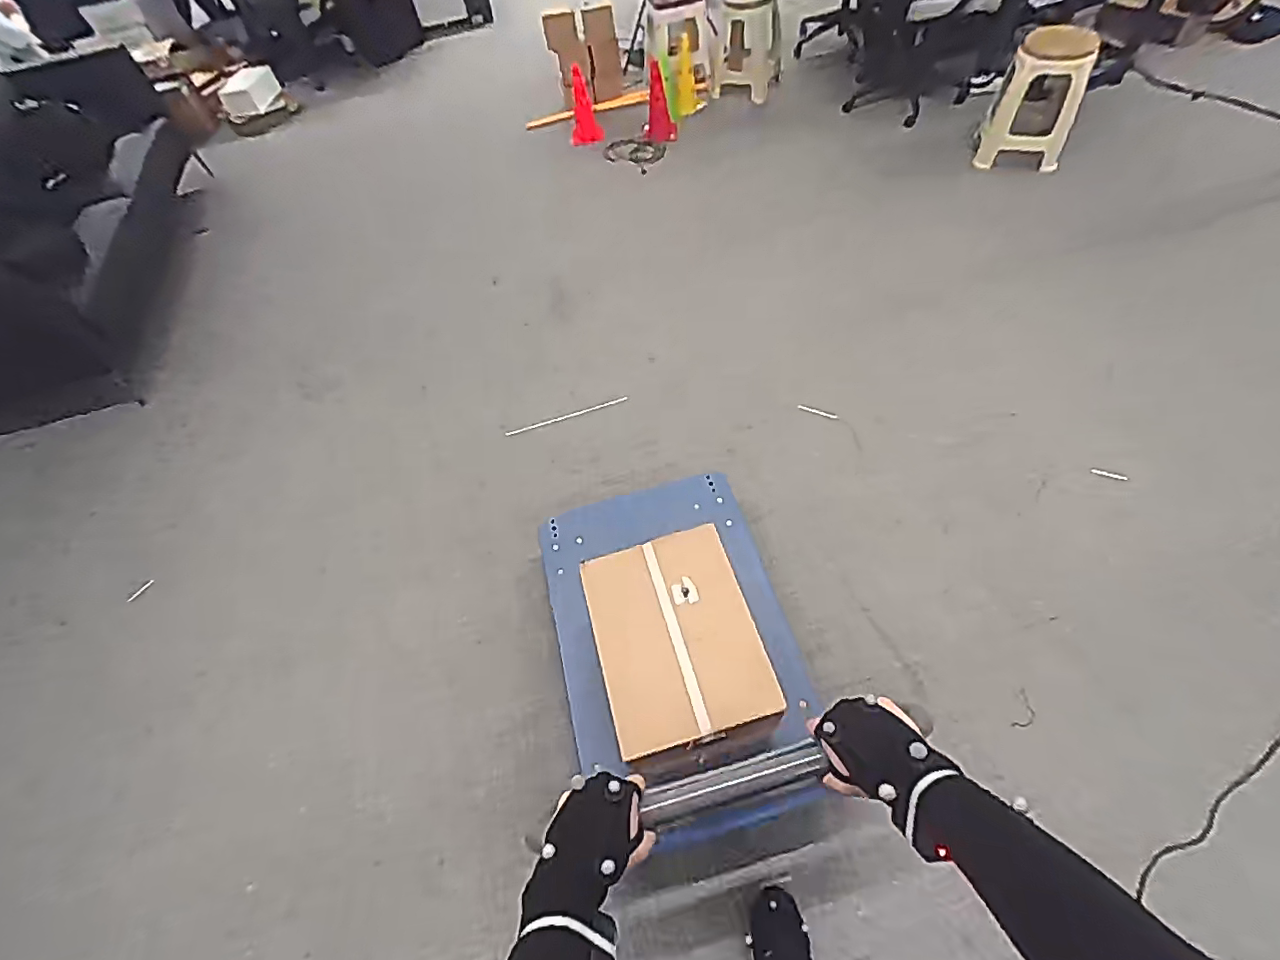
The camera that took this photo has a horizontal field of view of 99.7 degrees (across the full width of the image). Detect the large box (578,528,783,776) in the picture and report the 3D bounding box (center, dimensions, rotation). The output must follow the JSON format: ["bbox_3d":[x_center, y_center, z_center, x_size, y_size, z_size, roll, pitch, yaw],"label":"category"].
[{"bbox_3d":[0.085,0.386,1.208,0.320,0.320,0.408,-17,56,-3],"label":"large box"}]
